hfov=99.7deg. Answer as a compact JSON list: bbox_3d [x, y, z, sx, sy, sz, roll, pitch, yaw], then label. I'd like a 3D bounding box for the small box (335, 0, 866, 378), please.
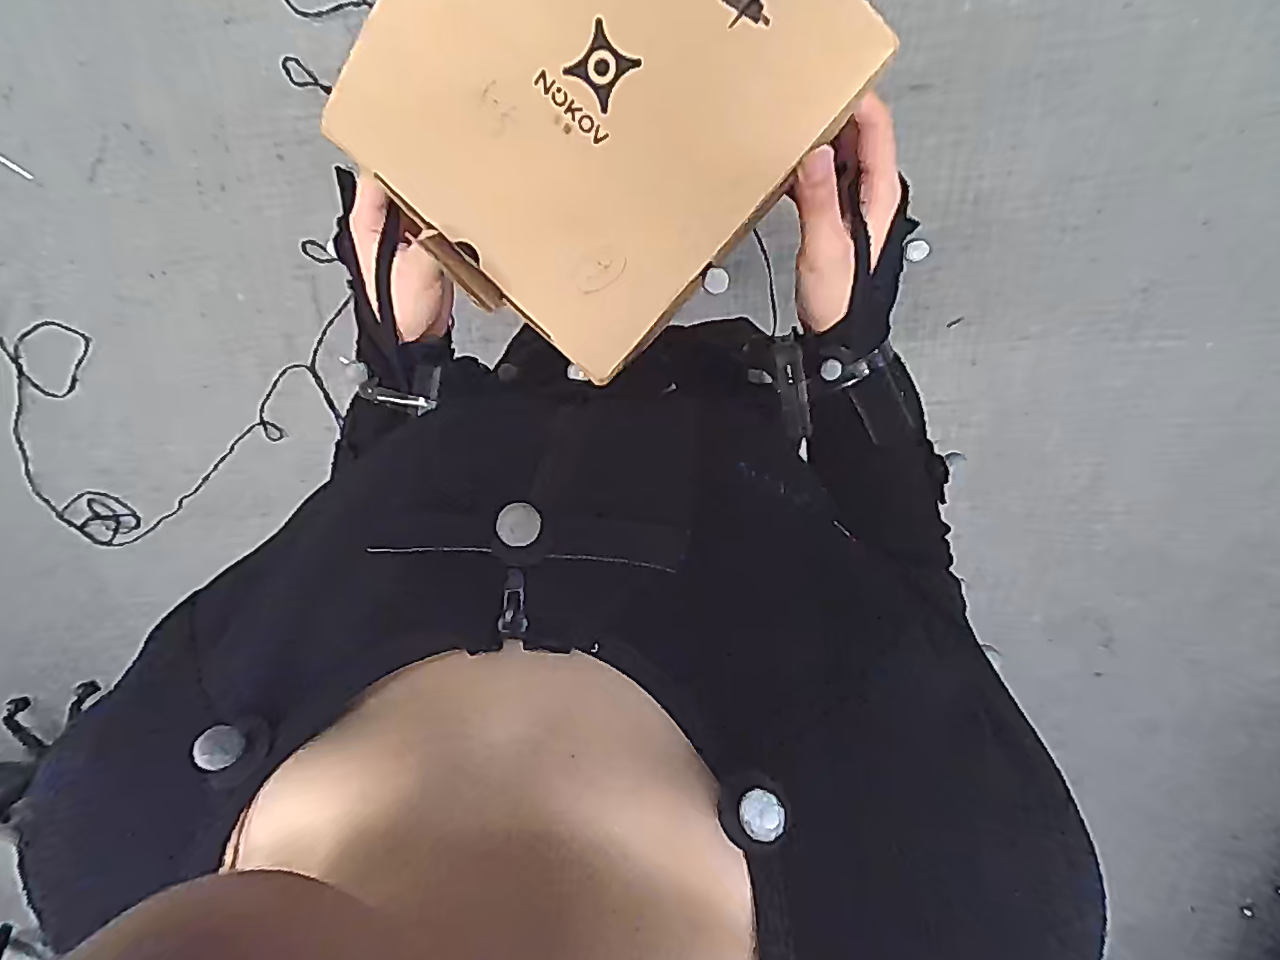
[{"bbox_3d":[-0.014,-0.184,0.302,0.168,0.176,0.179,42,109,-7],"label":"small box"}]
